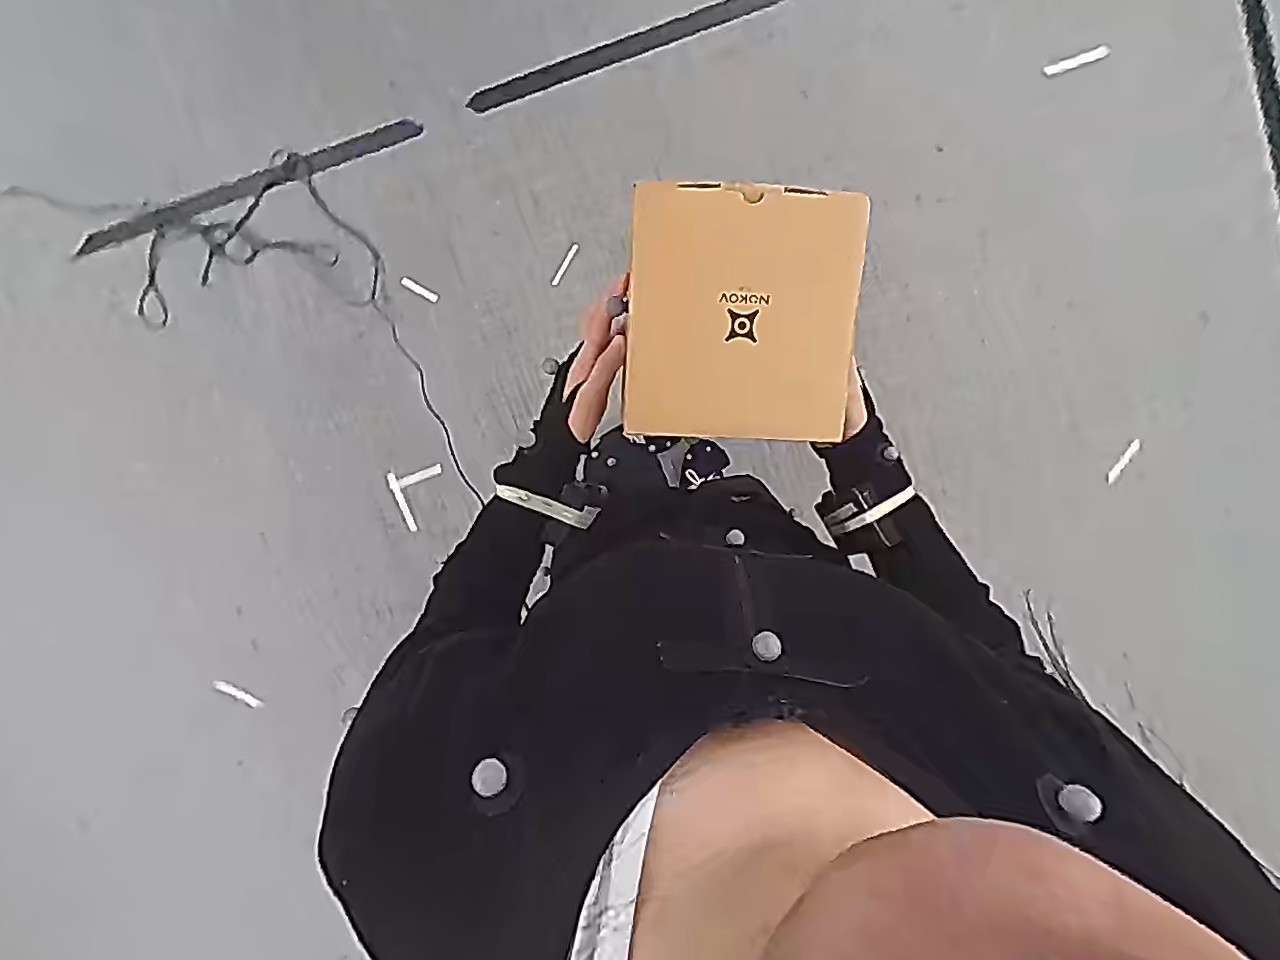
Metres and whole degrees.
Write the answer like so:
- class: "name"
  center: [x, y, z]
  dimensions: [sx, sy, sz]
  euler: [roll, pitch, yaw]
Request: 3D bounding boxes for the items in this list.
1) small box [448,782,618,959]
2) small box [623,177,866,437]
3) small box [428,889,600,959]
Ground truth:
- class: "small box"
  center: [-0.130, 0.556, 0.734]
  dimensions: [0.168, 0.176, 0.179]
  euler: [-16, 97, 2]
- class: "small box"
  center: [0.070, -0.135, 0.464]
  dimensions: [0.168, 0.176, 0.179]
  euler: [1, 101, -2]
- class: "small box"
  center: [-0.134, 0.577, 0.571]
  dimensions: [0.168, 0.176, 0.179]
  euler: [-14, 99, 2]
